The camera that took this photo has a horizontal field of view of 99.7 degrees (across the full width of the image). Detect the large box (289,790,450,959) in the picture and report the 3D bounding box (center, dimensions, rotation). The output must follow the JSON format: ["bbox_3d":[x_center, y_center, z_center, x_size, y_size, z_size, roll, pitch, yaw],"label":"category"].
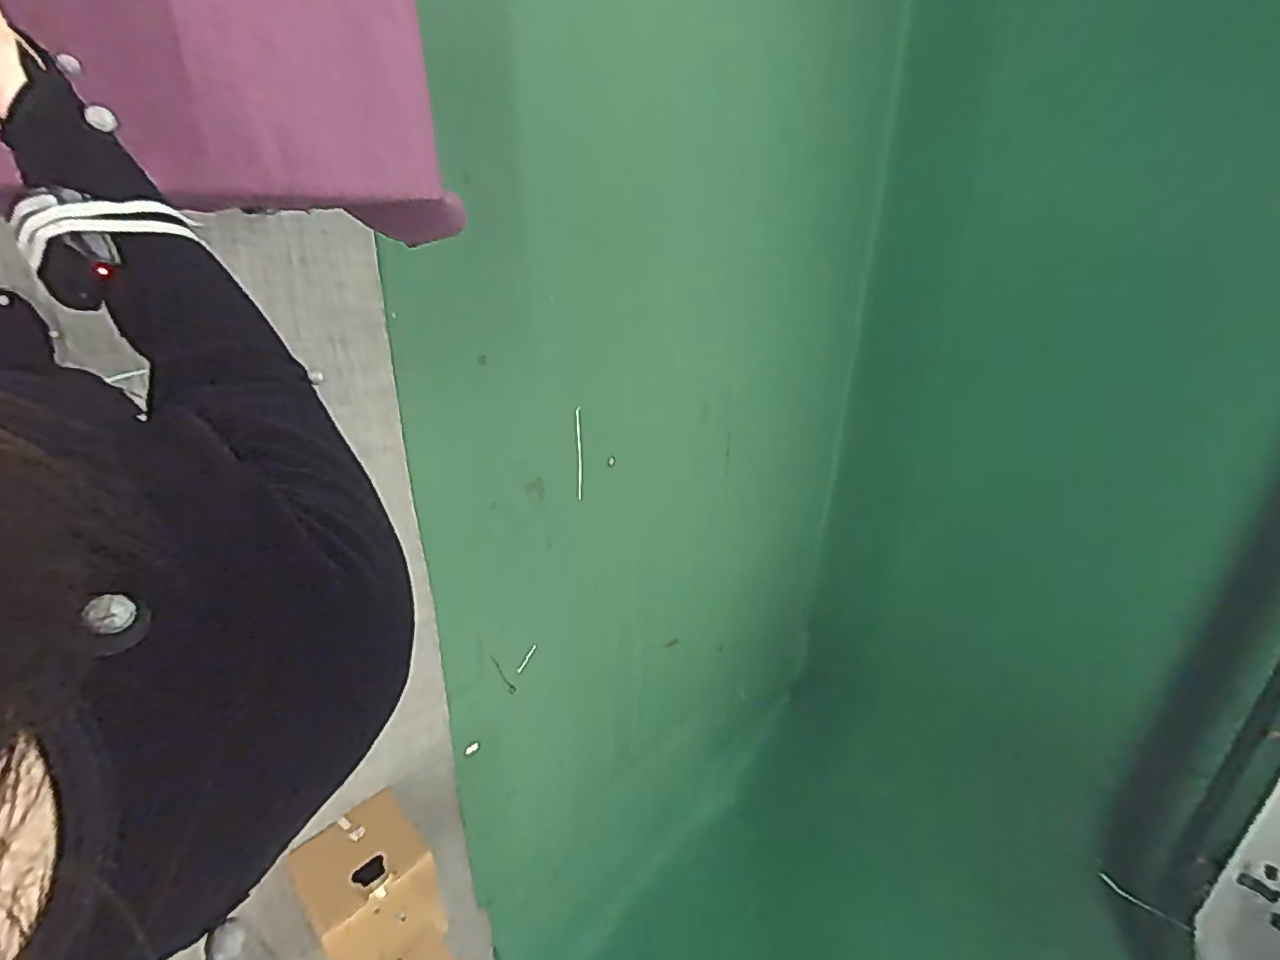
[{"bbox_3d":[-0.847,1.302,1.714,0.320,0.320,0.408,-23,123,-42],"label":"large box"}]

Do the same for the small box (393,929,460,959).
[{"bbox_3d":[-0.561,1.333,1.409,0.168,0.176,0.179,-21,121,-43],"label":"small box"}]

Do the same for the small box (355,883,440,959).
[{"bbox_3d":[-0.677,1.289,1.519,0.168,0.176,0.179,-21,121,-43],"label":"small box"}]
